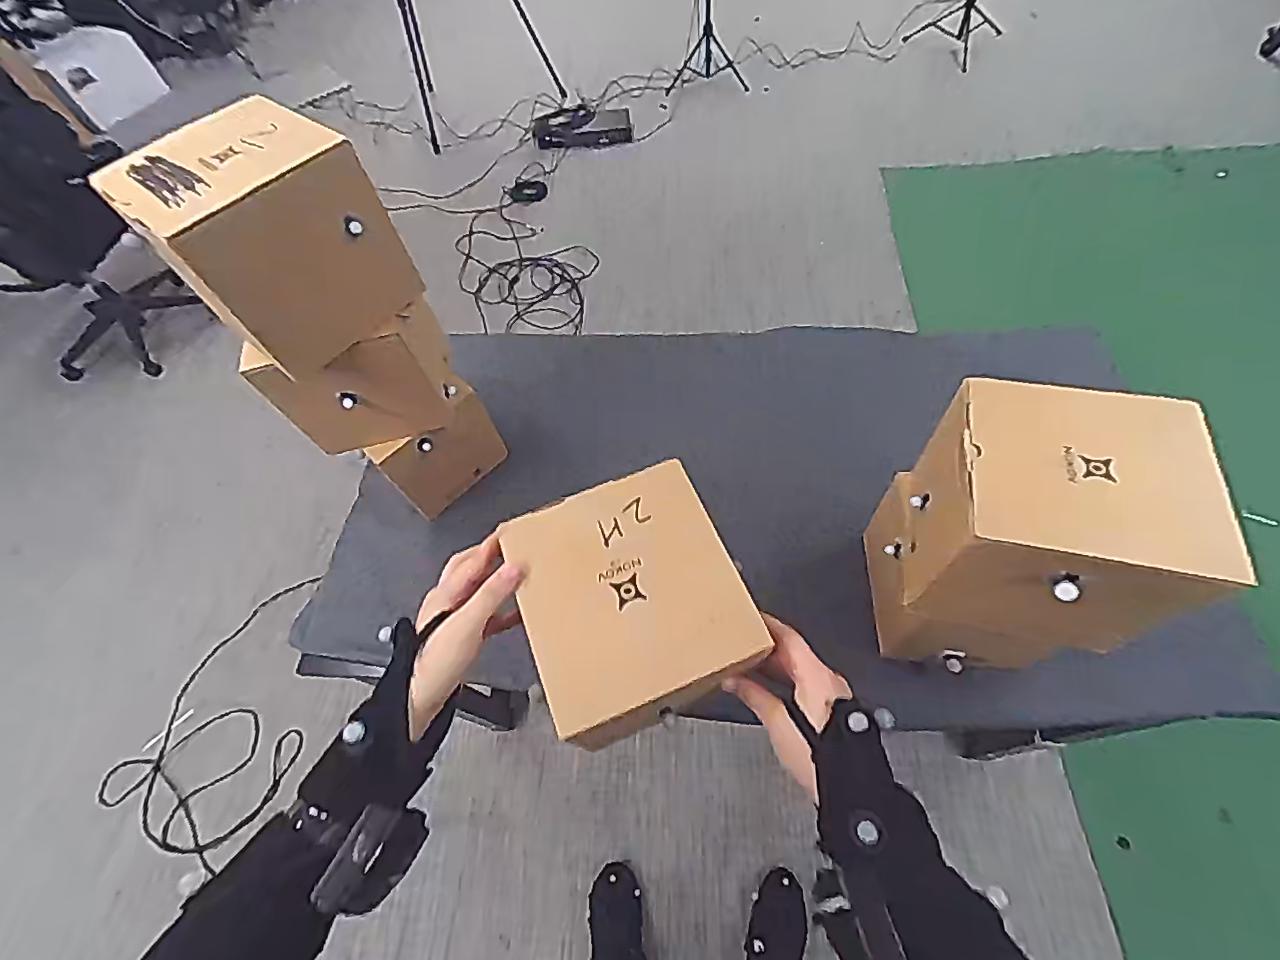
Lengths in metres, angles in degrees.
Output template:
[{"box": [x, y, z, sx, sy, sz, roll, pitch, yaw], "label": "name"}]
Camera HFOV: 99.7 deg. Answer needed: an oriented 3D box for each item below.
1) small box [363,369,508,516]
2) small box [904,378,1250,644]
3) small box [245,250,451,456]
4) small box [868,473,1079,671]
[{"box": [-0.338, -0.075, 0.838, 0.179, 0.176, 0.168, 38, 70, 25], "label": "small box"}, {"box": [0.357, 0.034, 0.487, 0.179, 0.176, 0.168, 9, 59, 15], "label": "small box"}, {"box": [-0.356, -0.157, 0.696, 0.179, 0.176, 0.168, -16, 59, -2], "label": "small box"}, {"box": [0.378, 0.109, 0.630, 0.168, 0.176, 0.179, 0, 58, 8], "label": "small box"}]
